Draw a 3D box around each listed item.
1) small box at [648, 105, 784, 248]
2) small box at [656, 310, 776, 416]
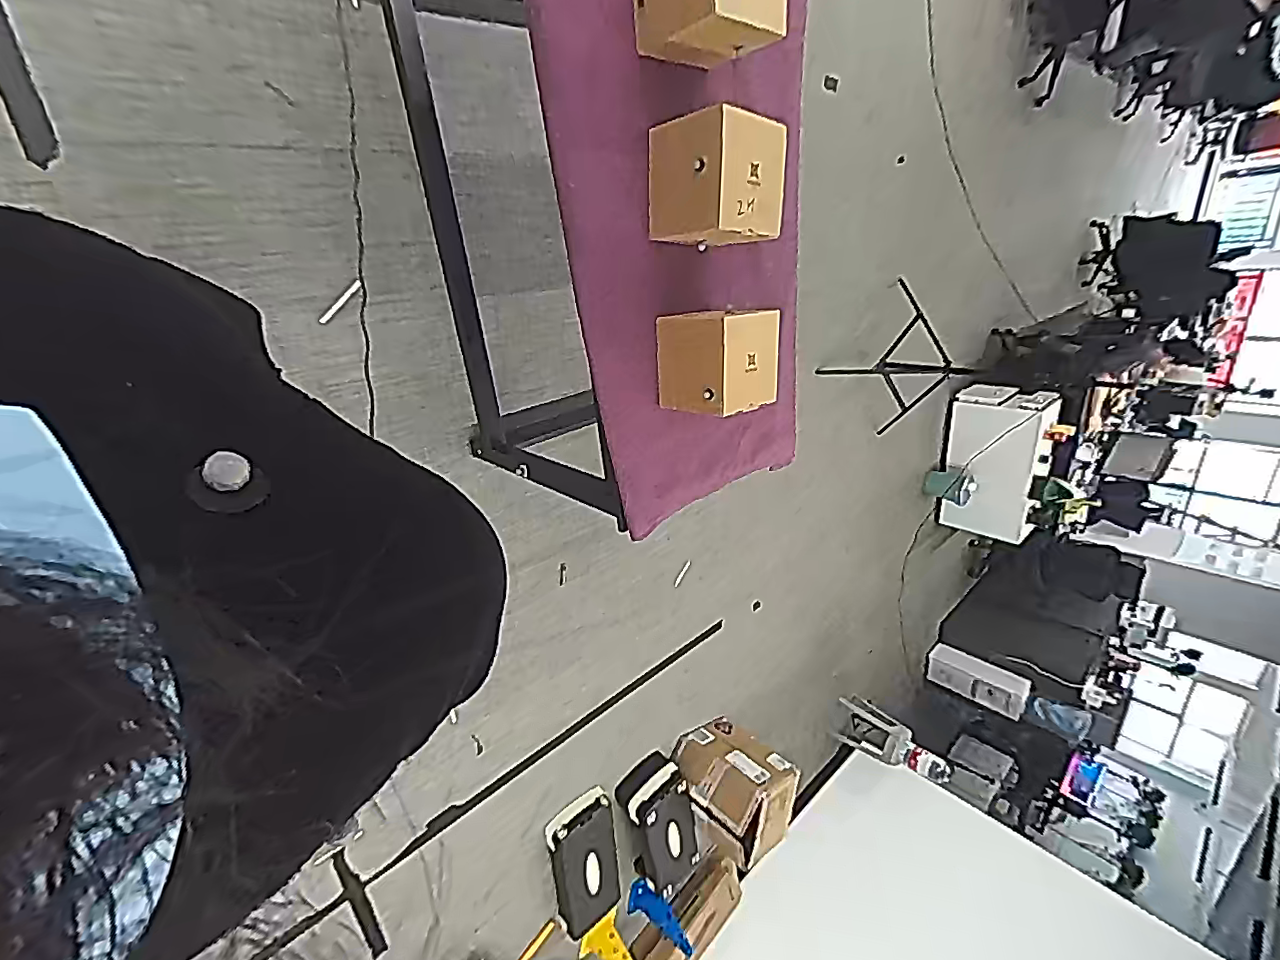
[{"bbox_3d":[0.127,-0.511,0.938,0.168,0.176,0.179,-14,113,-39],"label":"small box"},{"bbox_3d":[0.143,-0.231,1.044,0.168,0.176,0.179,-20,116,-39],"label":"small box"}]
